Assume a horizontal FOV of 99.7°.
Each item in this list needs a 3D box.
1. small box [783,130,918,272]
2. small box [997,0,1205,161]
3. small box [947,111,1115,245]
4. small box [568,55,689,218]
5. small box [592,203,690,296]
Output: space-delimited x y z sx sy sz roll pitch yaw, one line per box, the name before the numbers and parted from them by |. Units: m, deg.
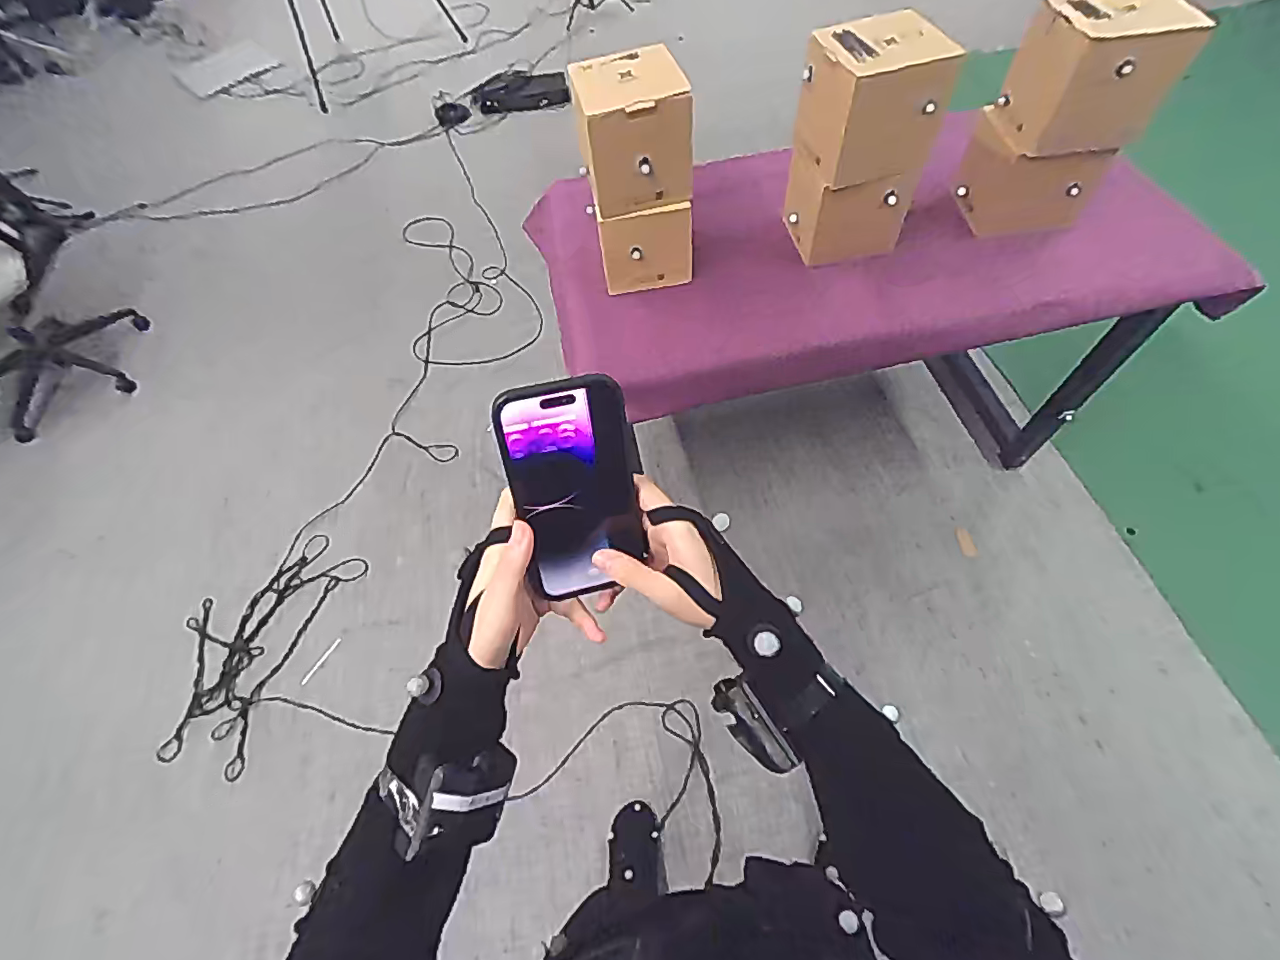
small box | 0.390 -0.528 1.036 0.179 0.176 0.168 -10 59 0
small box | 0.723 -0.647 0.881 0.179 0.176 0.168 -5 59 3
small box | 0.727 -0.575 1.029 0.179 0.176 0.168 -5 59 4
small box | -0.014 -0.568 0.913 0.168 0.176 0.179 -14 60 -3
small box | 0.002 -0.477 1.049 0.168 0.176 0.179 -10 59 1
